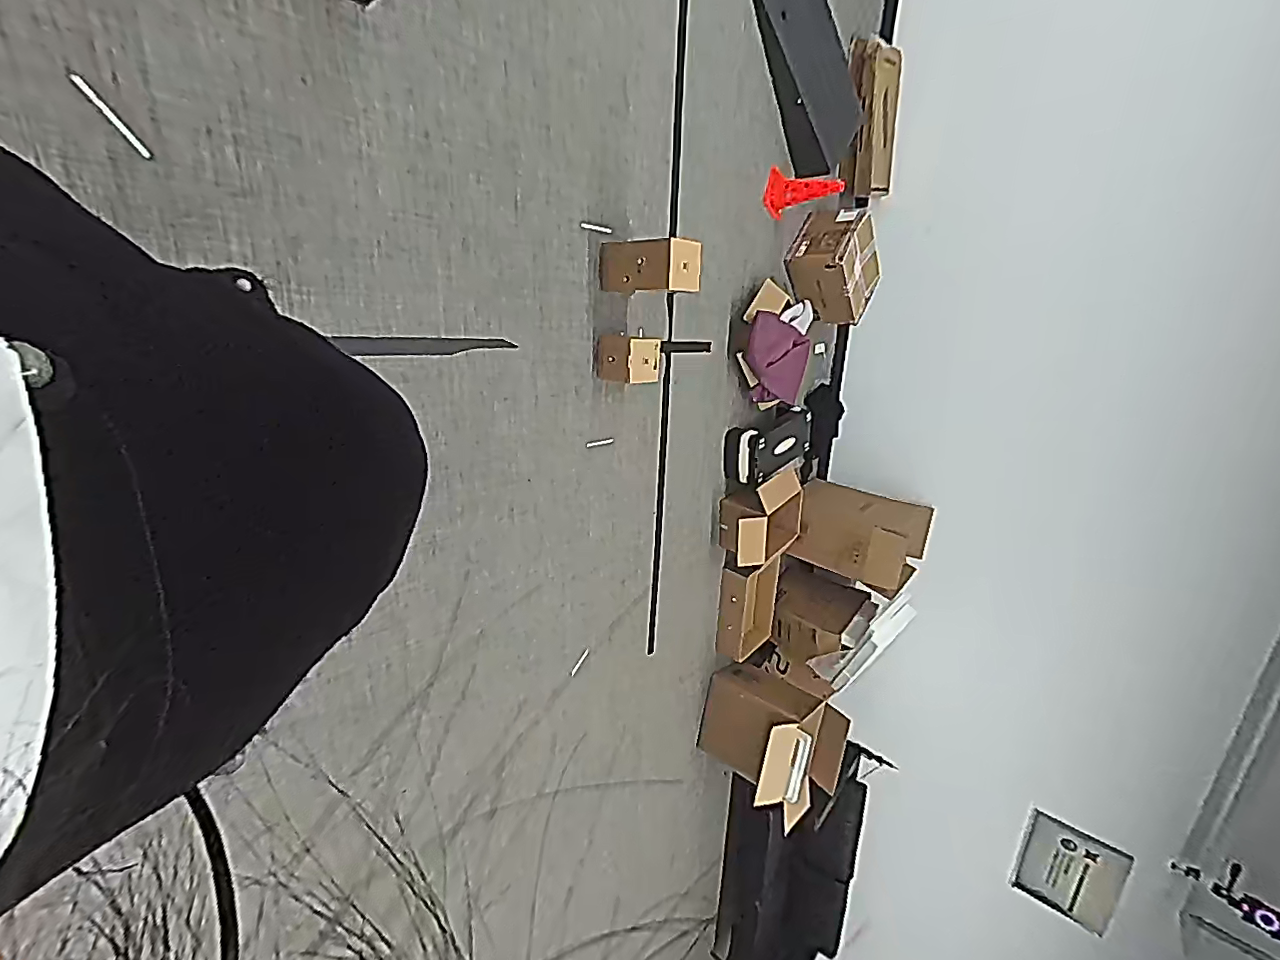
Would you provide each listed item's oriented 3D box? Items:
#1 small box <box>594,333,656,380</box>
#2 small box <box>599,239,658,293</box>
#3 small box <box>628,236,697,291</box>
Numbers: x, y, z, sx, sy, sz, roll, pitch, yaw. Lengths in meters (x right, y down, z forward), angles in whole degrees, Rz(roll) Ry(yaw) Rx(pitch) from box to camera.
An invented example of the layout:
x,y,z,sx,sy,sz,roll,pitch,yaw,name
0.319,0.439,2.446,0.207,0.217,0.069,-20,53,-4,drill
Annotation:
x,y,z,sx,sy,sz,roll,pitch,yaw,name
-0.062,-0.481,2.106,0.179,0.176,0.168,-15,115,-47,small box
-0.040,-0.793,2.011,0.168,0.176,0.179,-19,118,-46,small box
0.079,-0.757,1.907,0.179,0.176,0.168,-17,115,-45,small box
